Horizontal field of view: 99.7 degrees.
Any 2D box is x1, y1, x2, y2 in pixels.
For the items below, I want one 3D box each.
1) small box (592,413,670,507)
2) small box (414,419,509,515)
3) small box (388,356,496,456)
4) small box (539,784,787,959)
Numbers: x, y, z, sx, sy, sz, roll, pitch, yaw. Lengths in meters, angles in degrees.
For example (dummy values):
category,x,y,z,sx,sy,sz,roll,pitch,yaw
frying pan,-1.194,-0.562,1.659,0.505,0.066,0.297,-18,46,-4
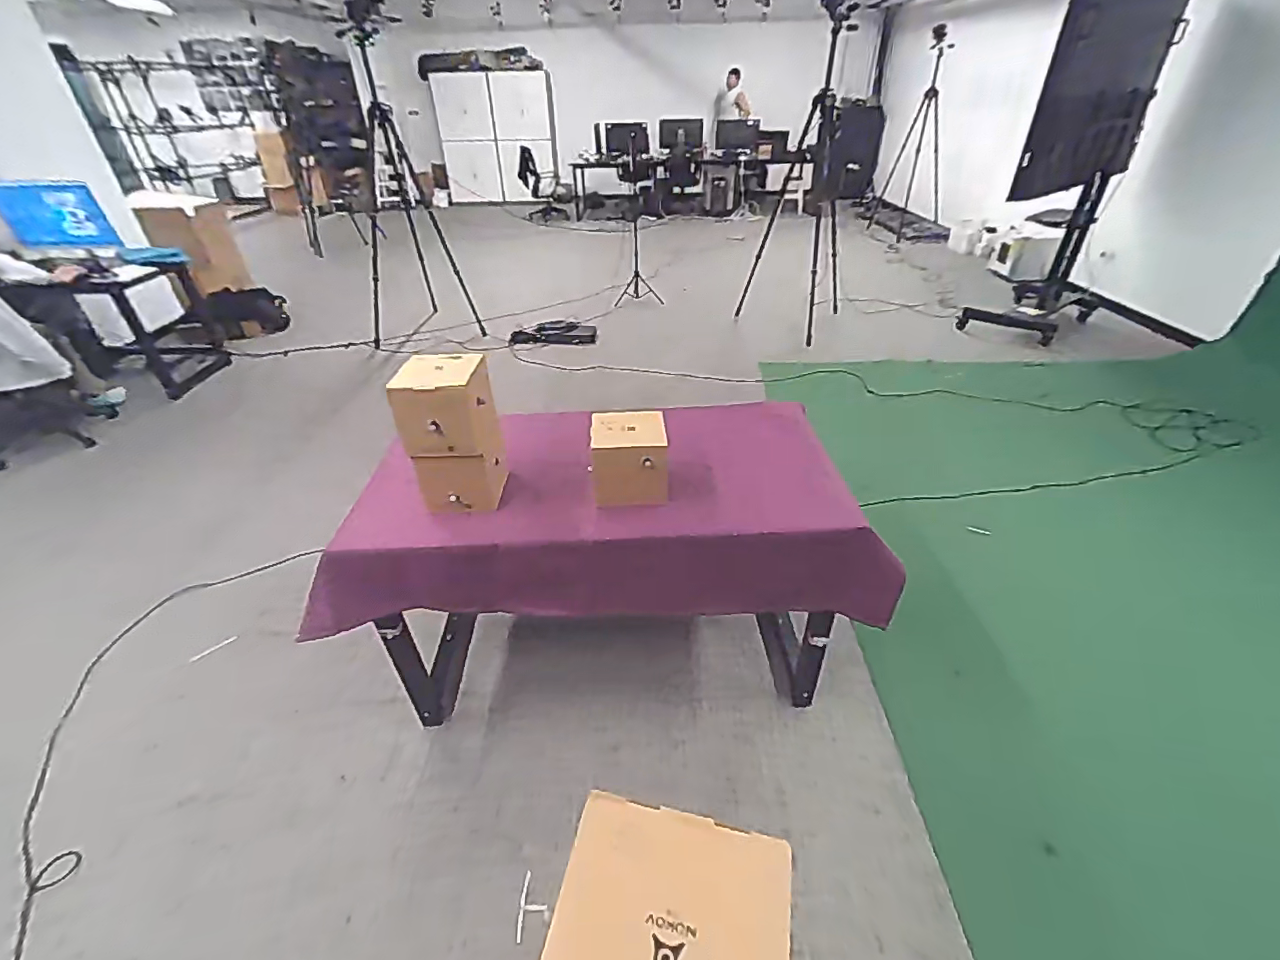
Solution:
category,x,y,z,sx,sy,sz,roll,pitch,yaw
small box,-0.021,-0.048,1.308,0.179,0.176,0.168,-3,35,-1
small box,-0.420,-0.034,1.307,0.168,0.176,0.179,-2,36,0
small box,-0.428,-0.163,1.206,0.168,0.176,0.179,-1,36,0
small box,0.016,0.383,0.429,0.168,0.176,0.179,9,42,10
